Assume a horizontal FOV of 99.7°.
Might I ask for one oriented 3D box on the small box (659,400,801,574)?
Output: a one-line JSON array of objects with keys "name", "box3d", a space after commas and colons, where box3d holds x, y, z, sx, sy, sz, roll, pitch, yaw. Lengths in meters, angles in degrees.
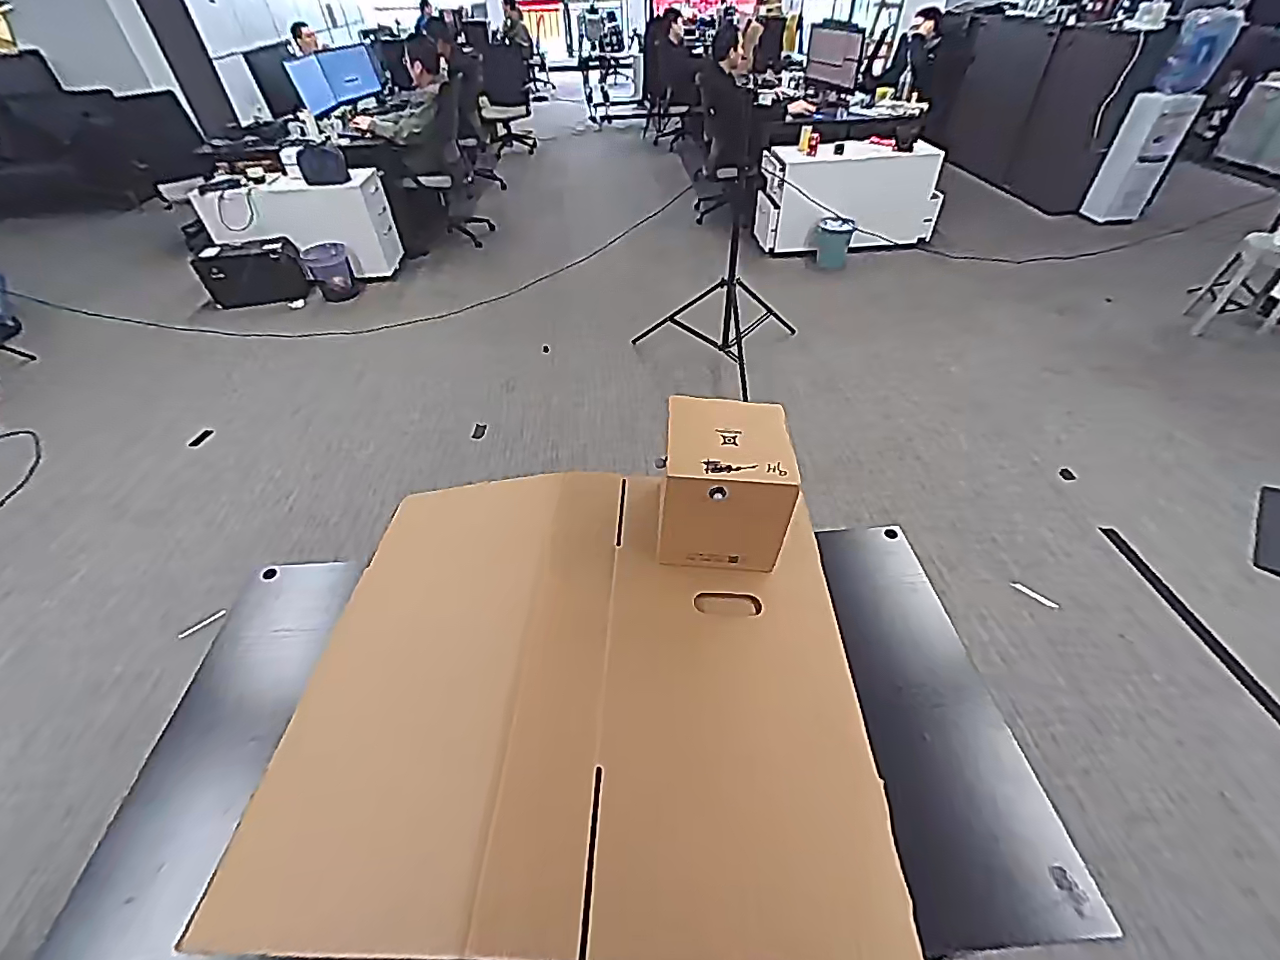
[{"name": "small box", "box3d": [0.114, 0.008, 0.767, 0.168, 0.176, 0.179, 4, 41, 1]}]
